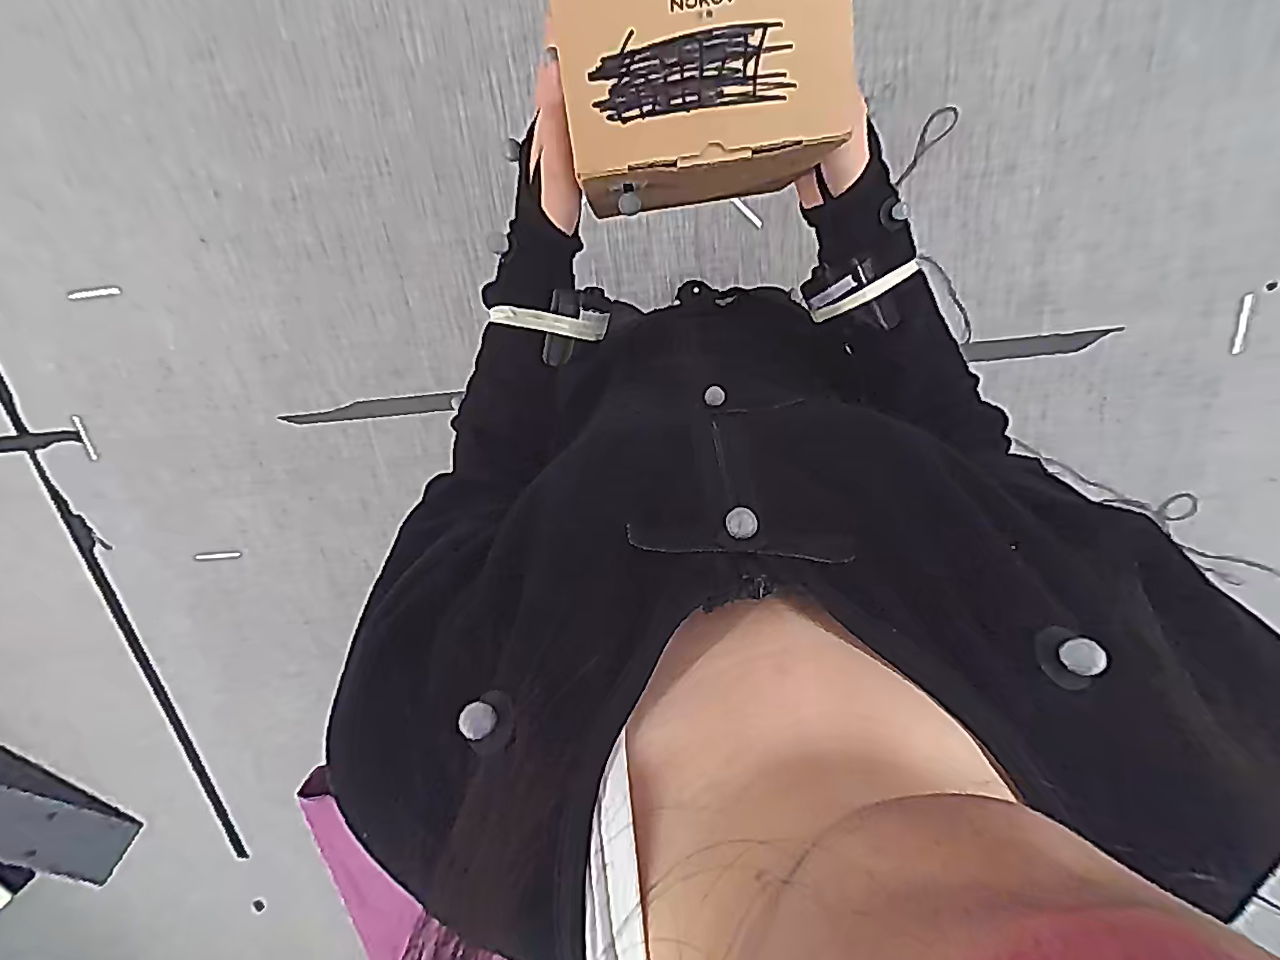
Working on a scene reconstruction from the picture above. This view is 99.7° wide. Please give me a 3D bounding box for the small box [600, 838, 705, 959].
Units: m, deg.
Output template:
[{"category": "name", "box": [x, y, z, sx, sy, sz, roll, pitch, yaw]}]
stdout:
[{"category": "small box", "box": [0.029, 0.766, 0.942, 0.168, 0.176, 0.179, -3, 110, 4]}]
